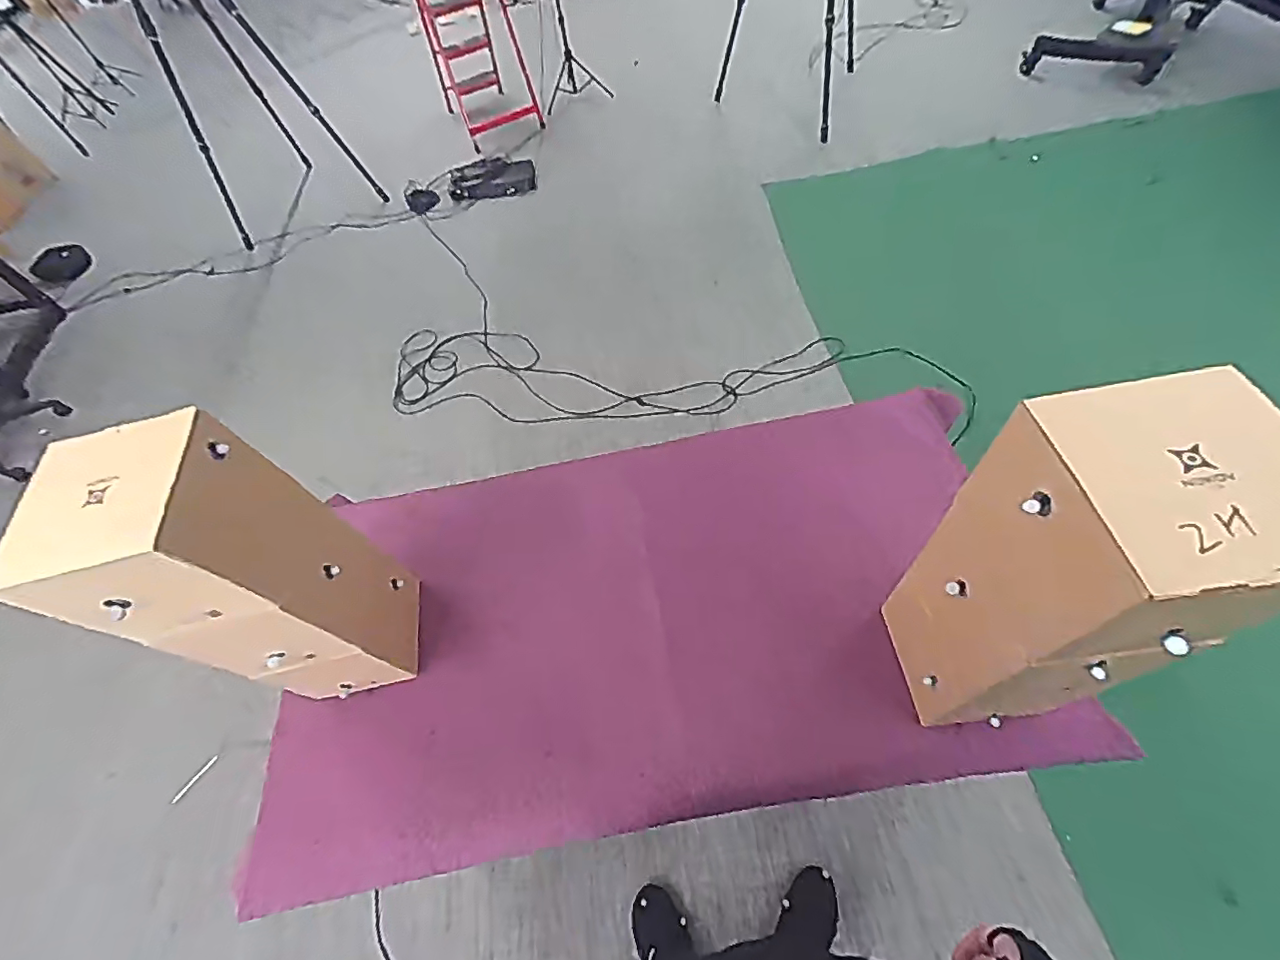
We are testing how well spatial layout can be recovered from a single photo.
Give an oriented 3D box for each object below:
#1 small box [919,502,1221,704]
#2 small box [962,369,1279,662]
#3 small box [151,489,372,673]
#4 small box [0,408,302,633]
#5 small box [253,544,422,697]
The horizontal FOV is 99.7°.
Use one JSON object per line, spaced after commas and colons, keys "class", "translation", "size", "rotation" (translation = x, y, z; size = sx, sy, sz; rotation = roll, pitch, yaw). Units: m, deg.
{"class": "small box", "translation": [0.434, 0.129, 0.592], "size": [0.168, 0.176, 0.179], "rotation": [-9, 56, 5]}
{"class": "small box", "translation": [0.410, 0.037, 0.457], "size": [0.168, 0.176, 0.179], "rotation": [-9, 57, 4]}
{"class": "small box", "translation": [-0.488, 0.141, 0.732], "size": [0.168, 0.176, 0.179], "rotation": [-14, 57, 1]}
{"class": "small box", "translation": [-0.510, 0.055, 0.596], "size": [0.168, 0.176, 0.179], "rotation": [-14, 57, 1]}
{"class": "small box", "translation": [-0.467, 0.229, 0.868], "size": [0.168, 0.176, 0.179], "rotation": [-13, 58, 1]}
